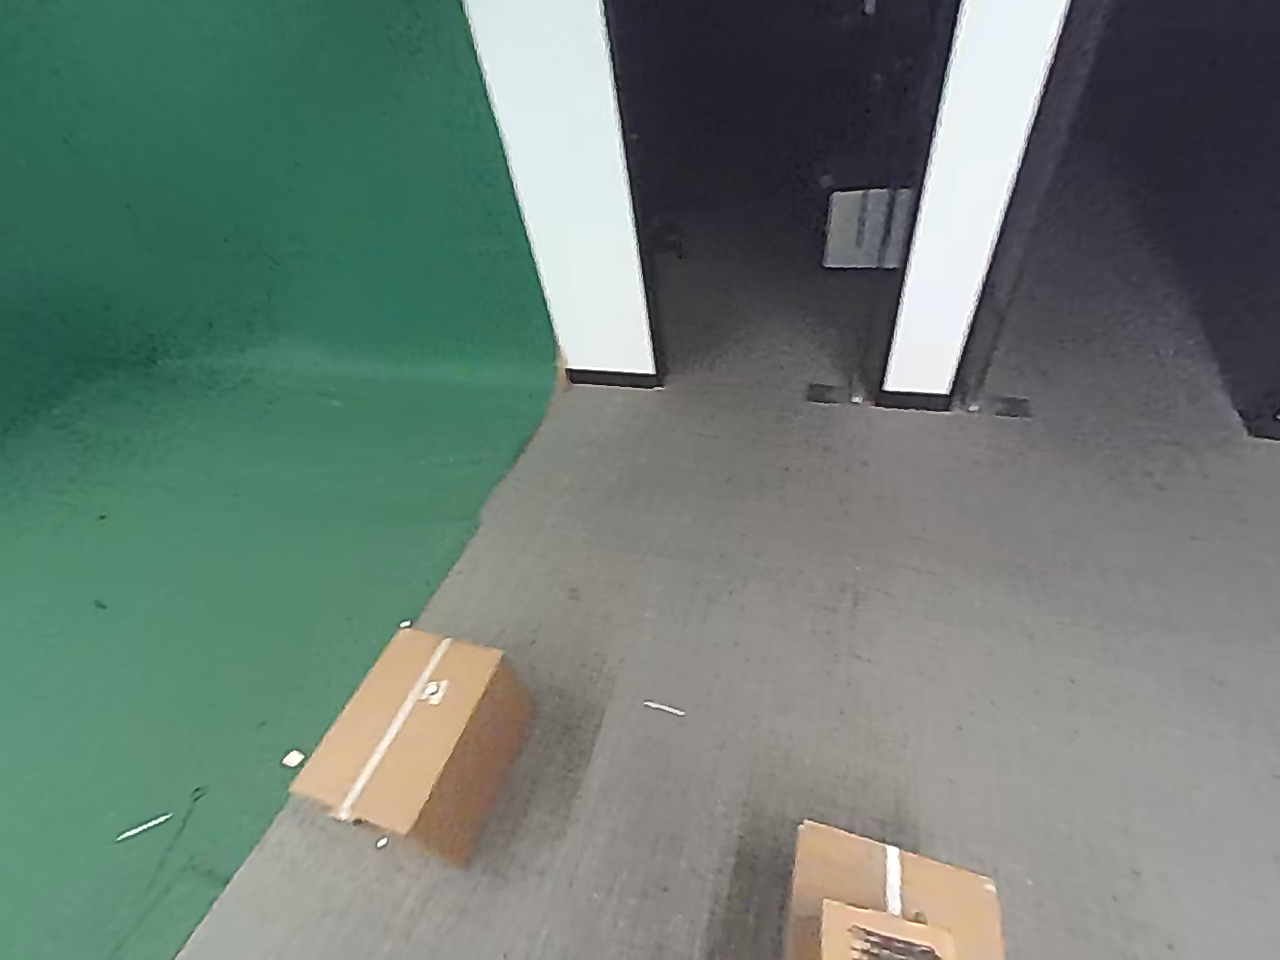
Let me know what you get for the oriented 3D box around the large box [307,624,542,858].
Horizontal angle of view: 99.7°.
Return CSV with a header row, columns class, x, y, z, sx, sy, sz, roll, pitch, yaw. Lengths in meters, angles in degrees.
class,x,y,z,sx,sy,sz,roll,pitch,yaw
large box,-0.497,0.635,1.342,0.320,0.320,0.408,7,46,19
